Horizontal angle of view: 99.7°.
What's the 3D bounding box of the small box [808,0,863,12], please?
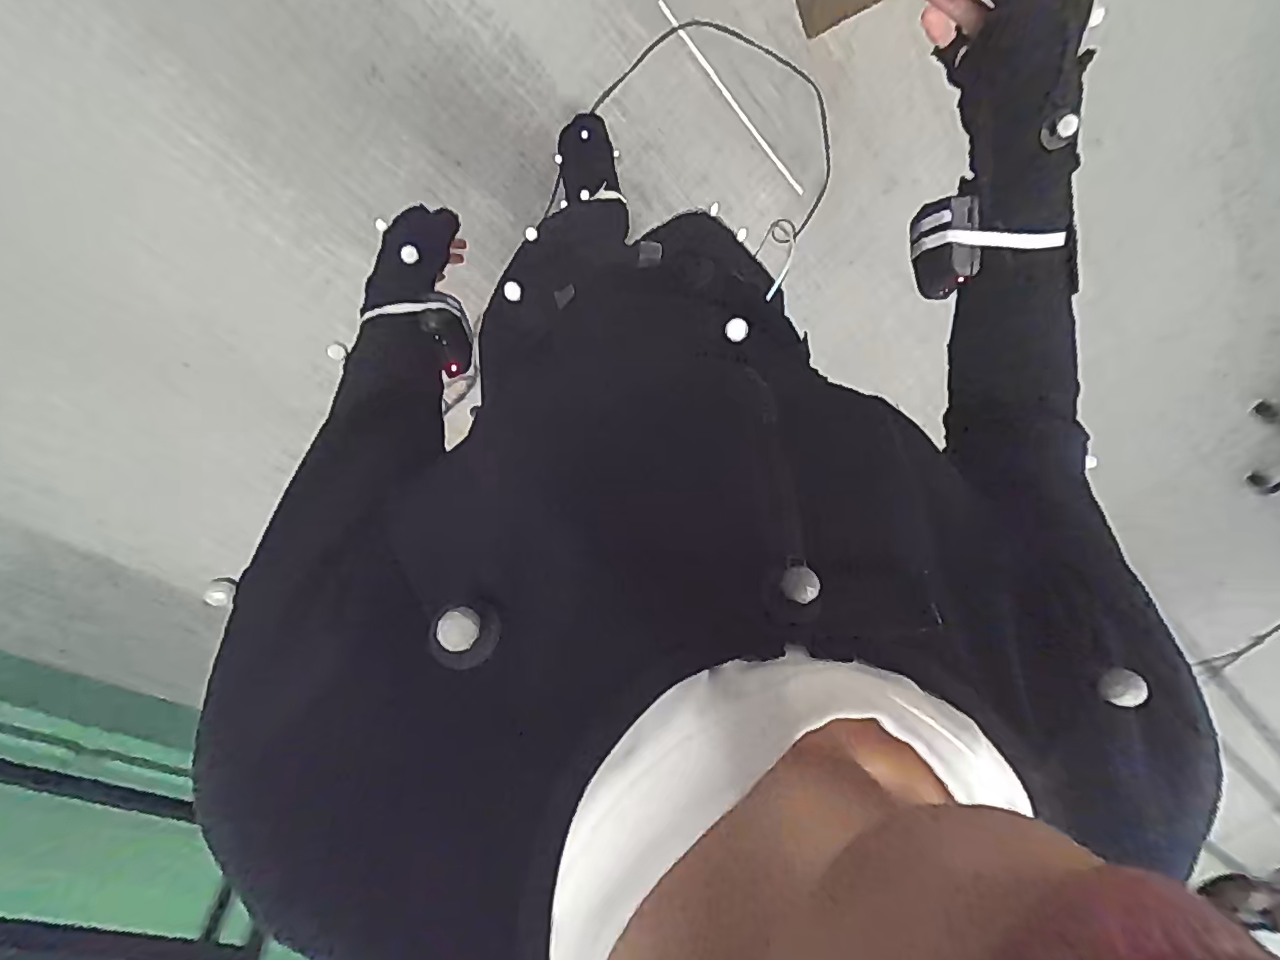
[{"bbox_3d":[0.180,-0.443,0.341,0.168,0.176,0.179,-27,119,13],"label":"small box"}]
